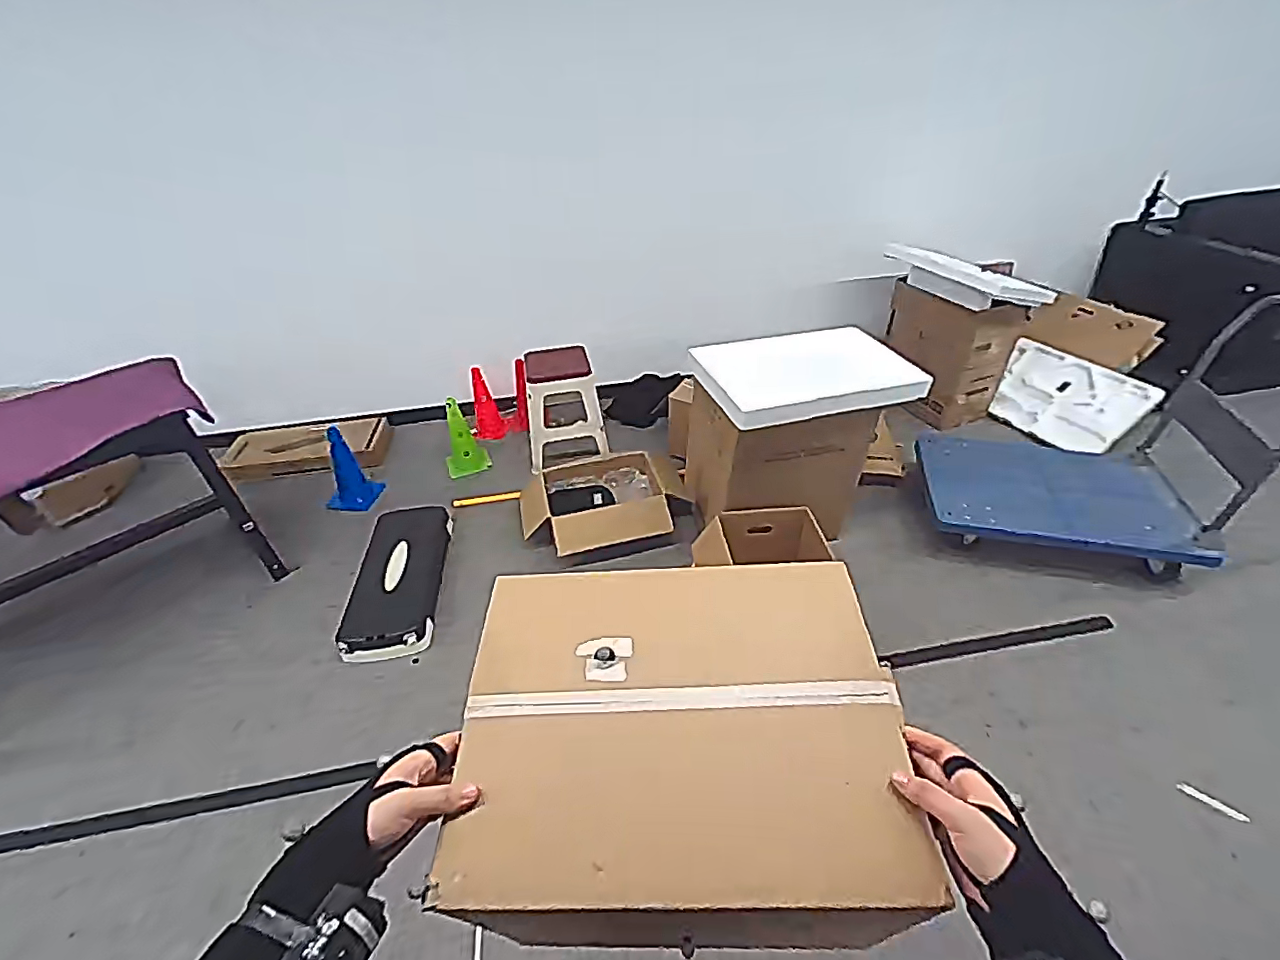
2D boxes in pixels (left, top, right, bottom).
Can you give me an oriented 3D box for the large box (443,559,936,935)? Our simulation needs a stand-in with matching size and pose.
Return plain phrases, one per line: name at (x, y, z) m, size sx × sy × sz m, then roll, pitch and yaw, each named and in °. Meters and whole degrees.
large box at (0.050, 0.321, 0.638) m, size 0.408 × 0.320 × 0.320 m, roll -5°, pitch 44°, yaw 4°
